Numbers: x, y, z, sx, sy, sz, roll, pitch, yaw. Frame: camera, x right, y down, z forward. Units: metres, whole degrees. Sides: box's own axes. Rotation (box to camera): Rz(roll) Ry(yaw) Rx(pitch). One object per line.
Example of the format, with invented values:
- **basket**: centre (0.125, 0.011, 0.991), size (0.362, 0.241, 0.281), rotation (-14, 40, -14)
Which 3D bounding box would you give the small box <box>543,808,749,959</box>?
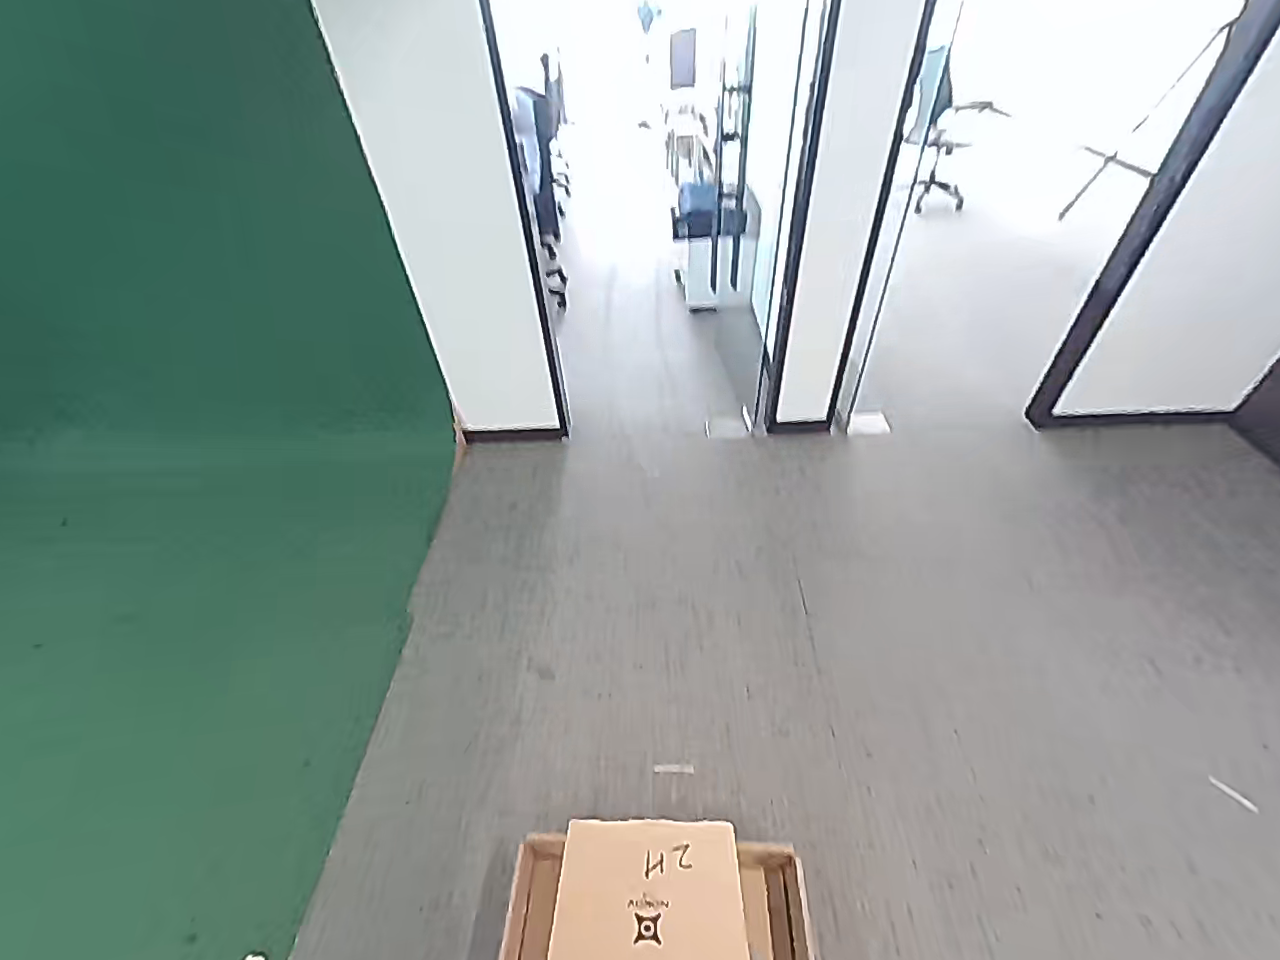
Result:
- **small box**: centre (0.009, 0.434, 0.486), size (0.168, 0.176, 0.179), rotation (0, 24, 2)
